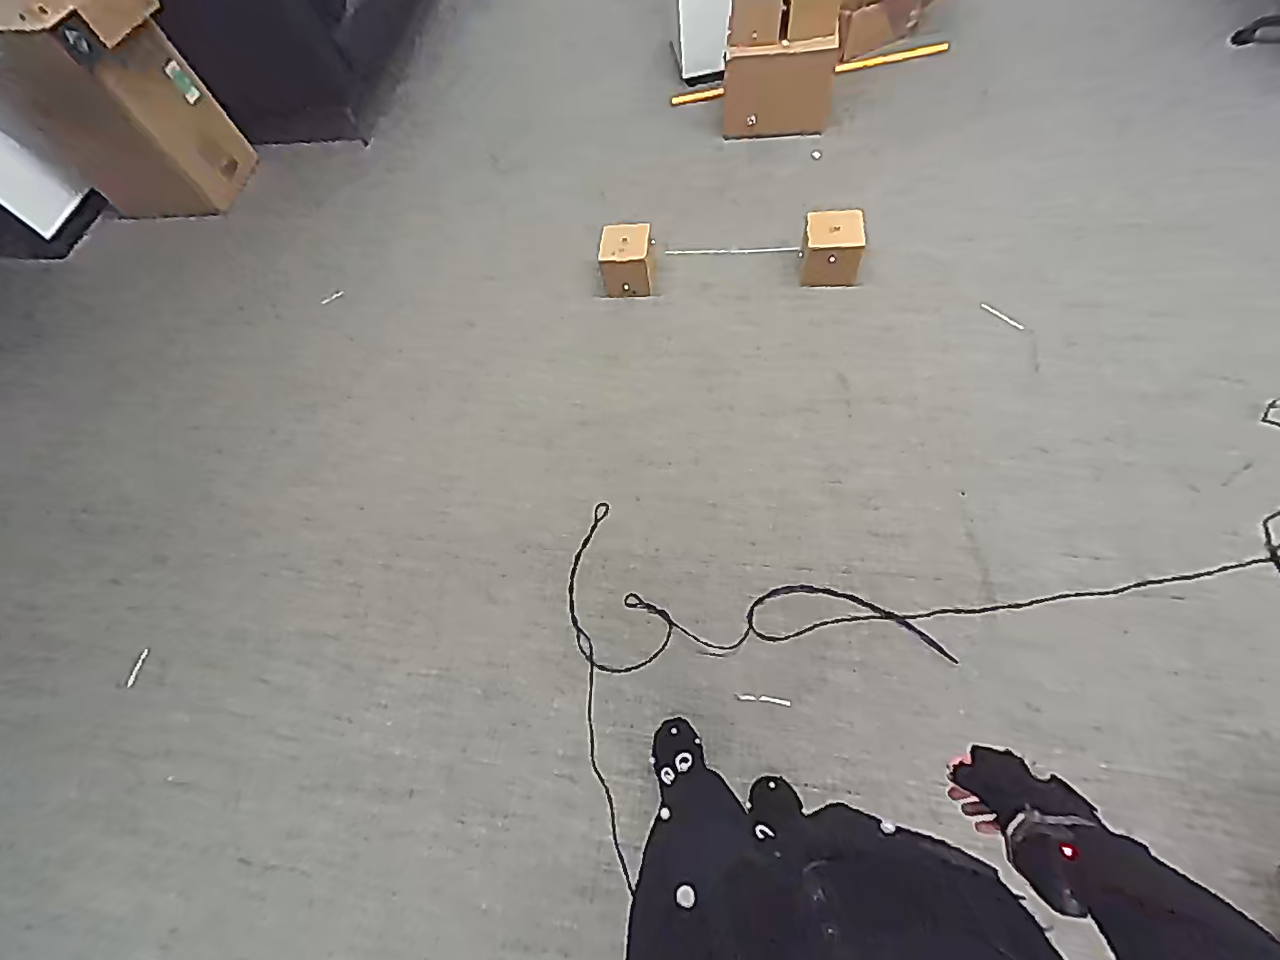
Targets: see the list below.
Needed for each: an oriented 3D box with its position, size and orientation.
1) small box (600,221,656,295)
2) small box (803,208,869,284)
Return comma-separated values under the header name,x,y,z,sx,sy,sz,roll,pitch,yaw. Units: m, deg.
name,x,y,z,sx,sy,sz,roll,pitch,yaw
small box,-0.036,-0.774,1.892,0.168,0.176,0.179,1,64,10
small box,0.641,-0.770,1.788,0.179,0.176,0.168,1,65,10
